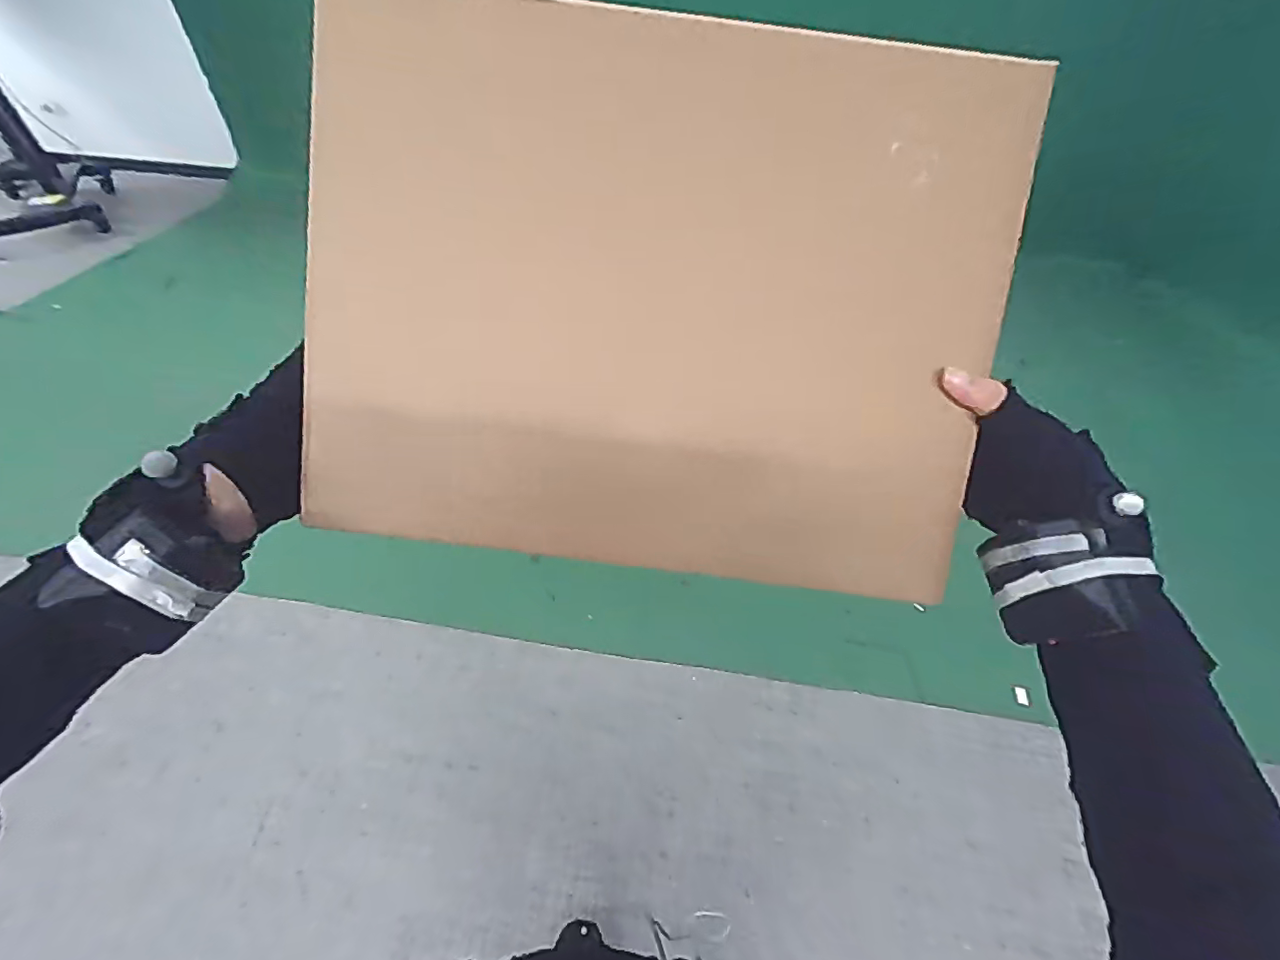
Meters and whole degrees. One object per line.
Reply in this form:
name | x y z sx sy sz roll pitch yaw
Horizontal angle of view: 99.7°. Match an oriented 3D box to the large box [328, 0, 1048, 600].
large box | 0.017 -0.115 0.470 0.408 0.320 0.320 8 10 0
